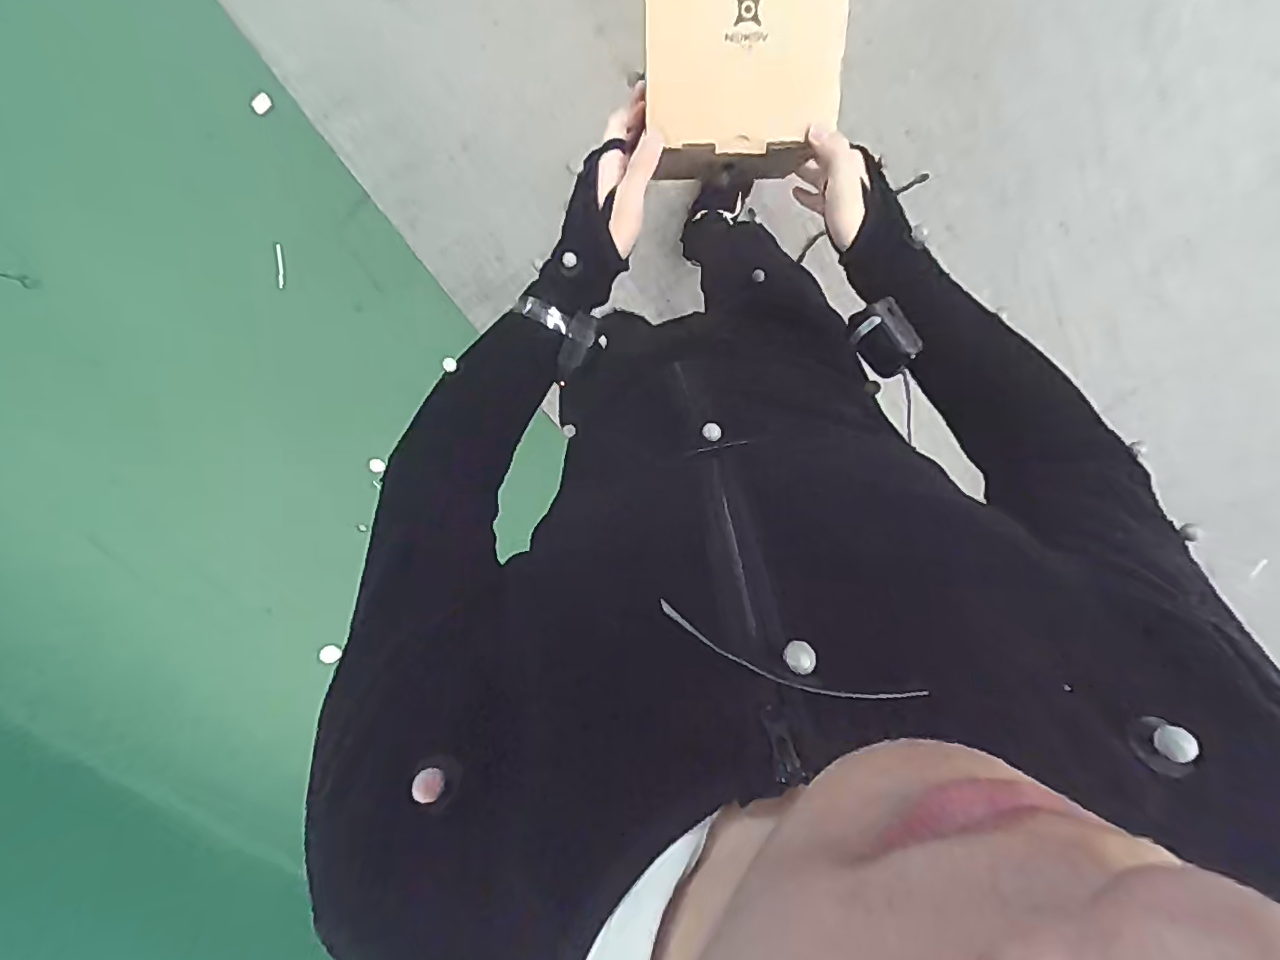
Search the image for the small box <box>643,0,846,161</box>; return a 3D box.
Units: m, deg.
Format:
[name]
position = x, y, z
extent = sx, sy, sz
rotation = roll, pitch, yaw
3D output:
[small box]
position = 0.087, -0.413, 0.513
extent = 0.168, 0.176, 0.179
rotation = -1, 111, 0
